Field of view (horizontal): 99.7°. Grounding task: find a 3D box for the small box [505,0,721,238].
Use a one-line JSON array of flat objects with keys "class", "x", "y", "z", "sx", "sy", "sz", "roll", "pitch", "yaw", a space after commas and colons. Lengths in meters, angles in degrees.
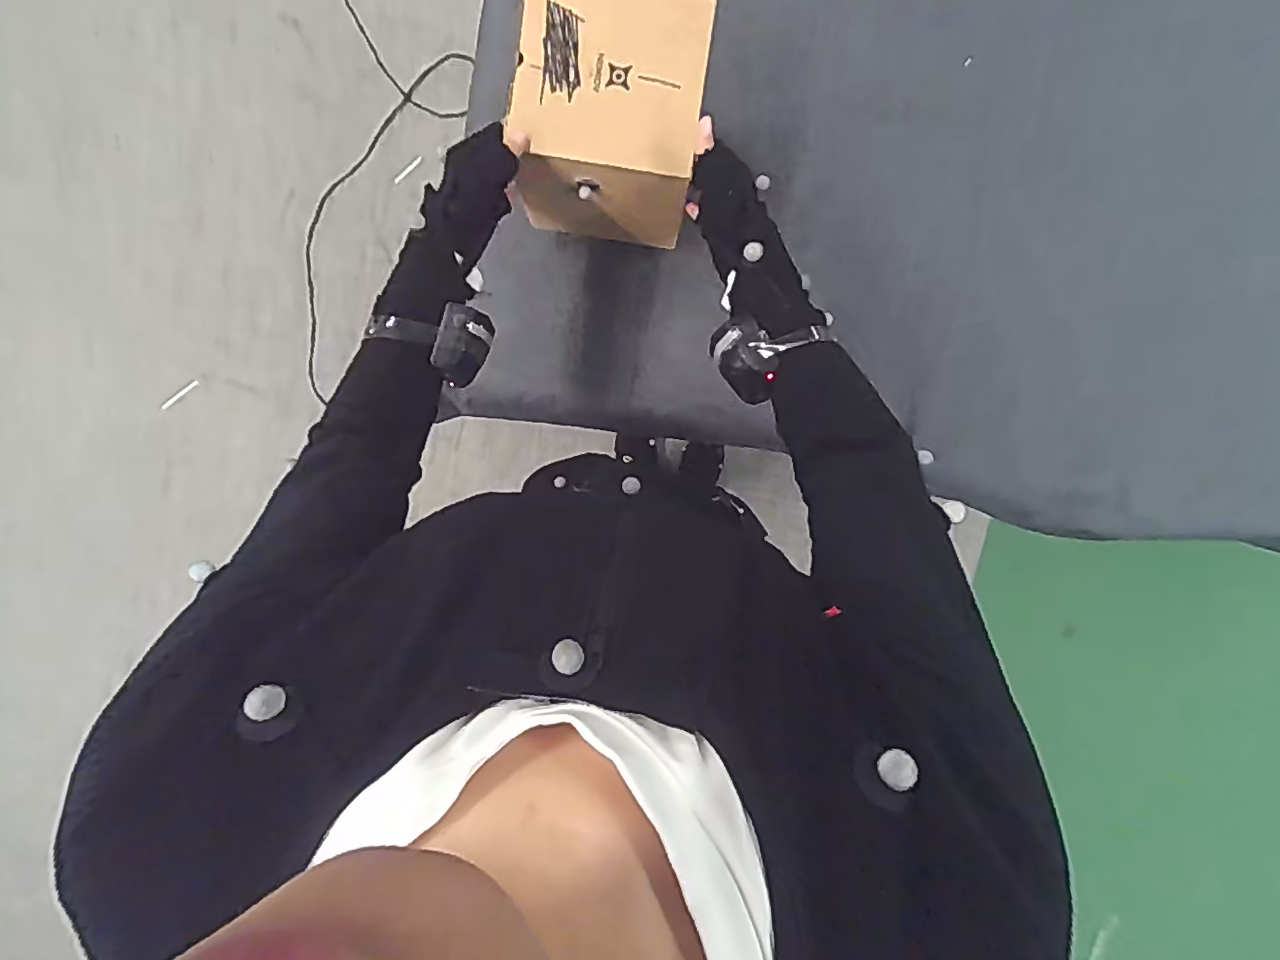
[{"class": "small box", "x": -0.026, "y": -0.375, "z": 0.564, "sx": 0.179, "sy": 0.176, "sz": 0.168, "roll": 8, "pitch": 93, "yaw": -2}]
